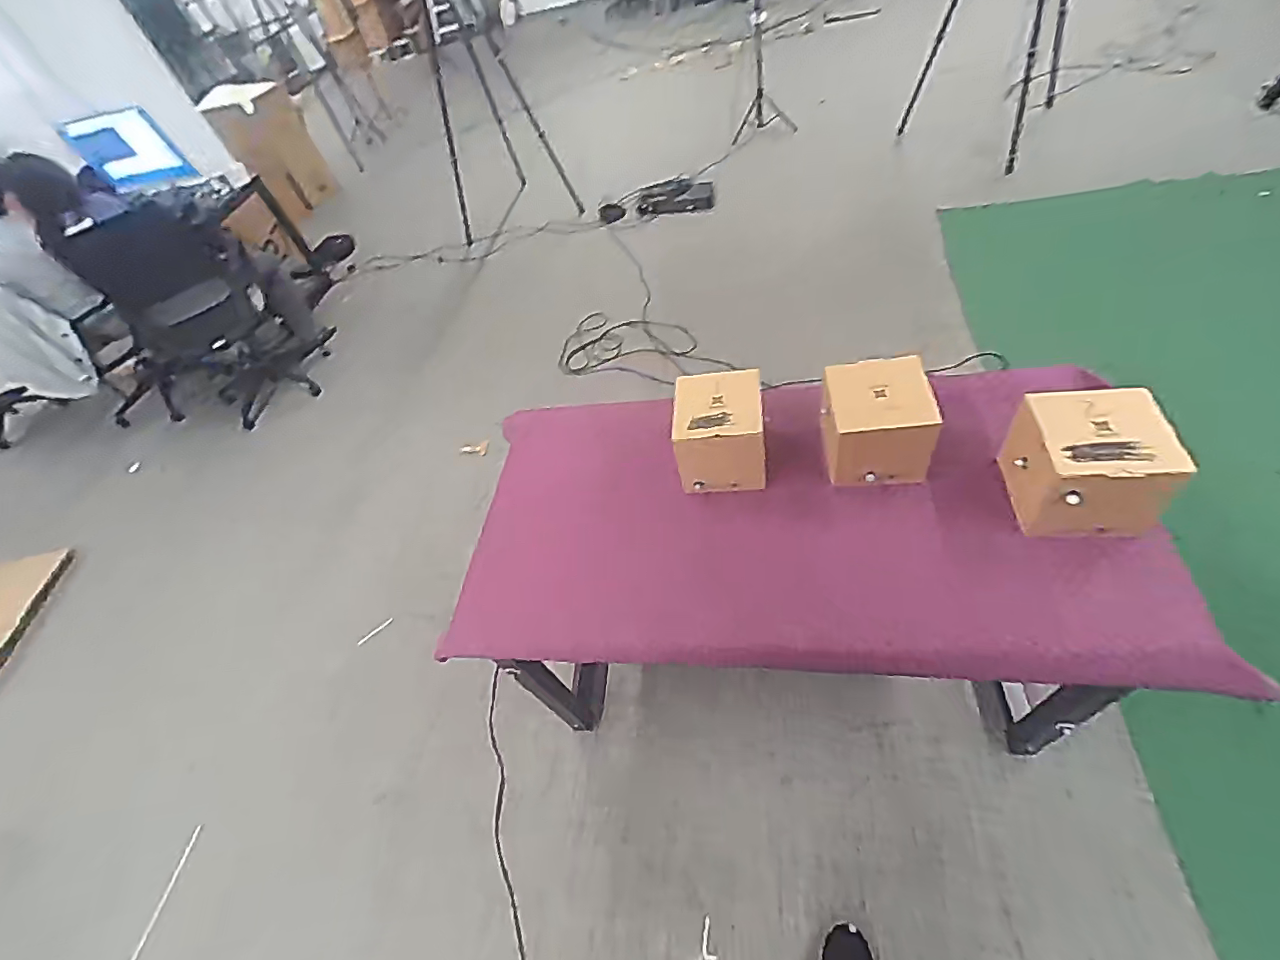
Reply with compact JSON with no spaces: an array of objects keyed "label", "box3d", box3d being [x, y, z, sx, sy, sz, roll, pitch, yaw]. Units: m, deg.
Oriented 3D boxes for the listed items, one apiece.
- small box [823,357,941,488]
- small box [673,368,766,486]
[{"label":"small box","box3d":[0.442,-0.105,1.019,0.168,0.176,0.179,-4,53,13]},{"label":"small box","box3d":[0.164,-0.098,1.083,0.168,0.176,0.179,-2,51,12]}]
